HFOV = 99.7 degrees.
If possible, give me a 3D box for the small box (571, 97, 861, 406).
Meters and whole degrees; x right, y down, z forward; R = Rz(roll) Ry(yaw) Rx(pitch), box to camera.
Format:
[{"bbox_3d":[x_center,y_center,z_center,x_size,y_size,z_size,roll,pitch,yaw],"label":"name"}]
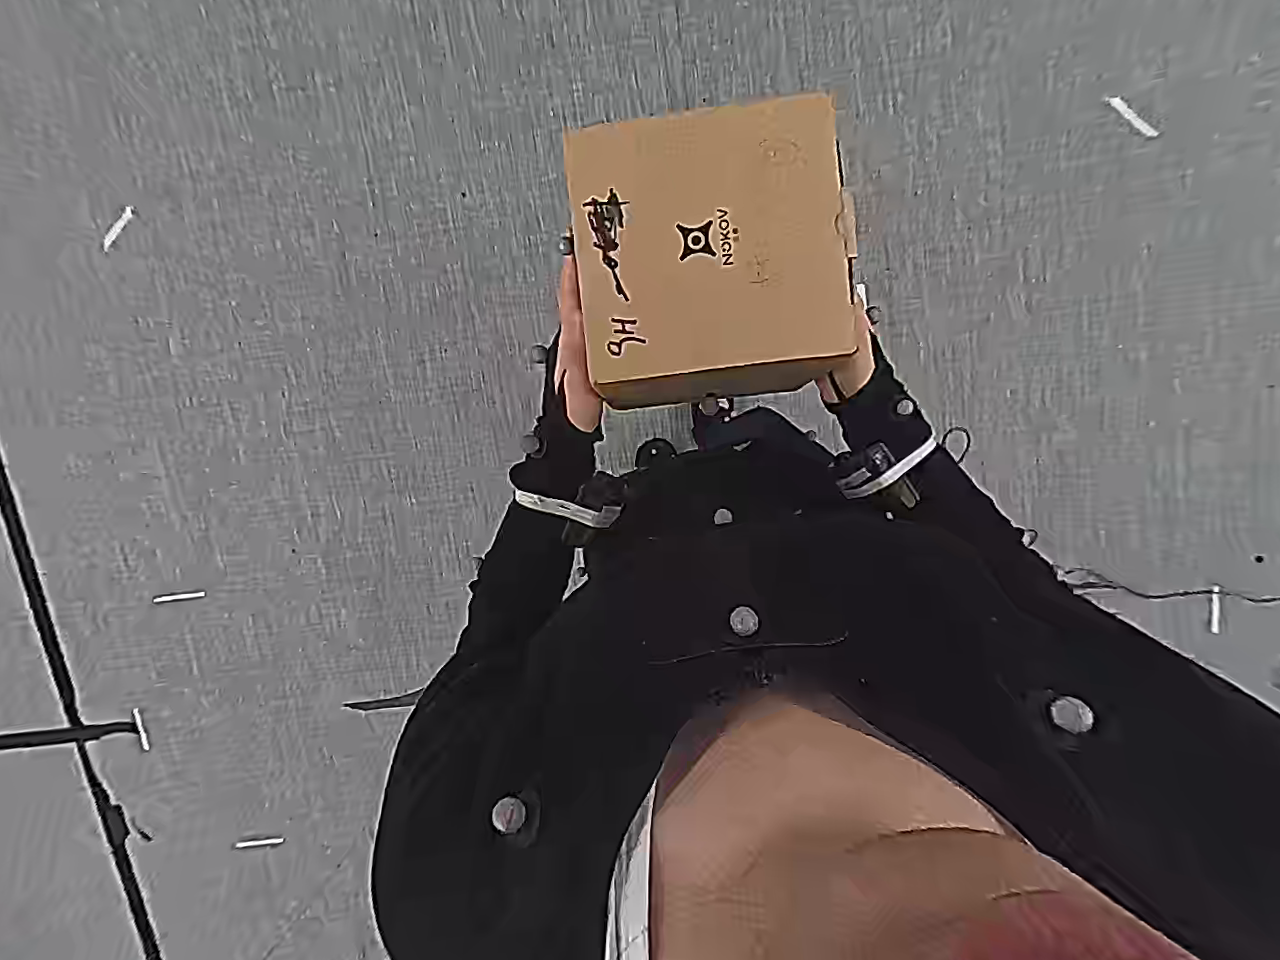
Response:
[{"bbox_3d":[0.050,-0.155,0.425,0.179,0.176,0.168,-6,91,2],"label":"small box"}]
